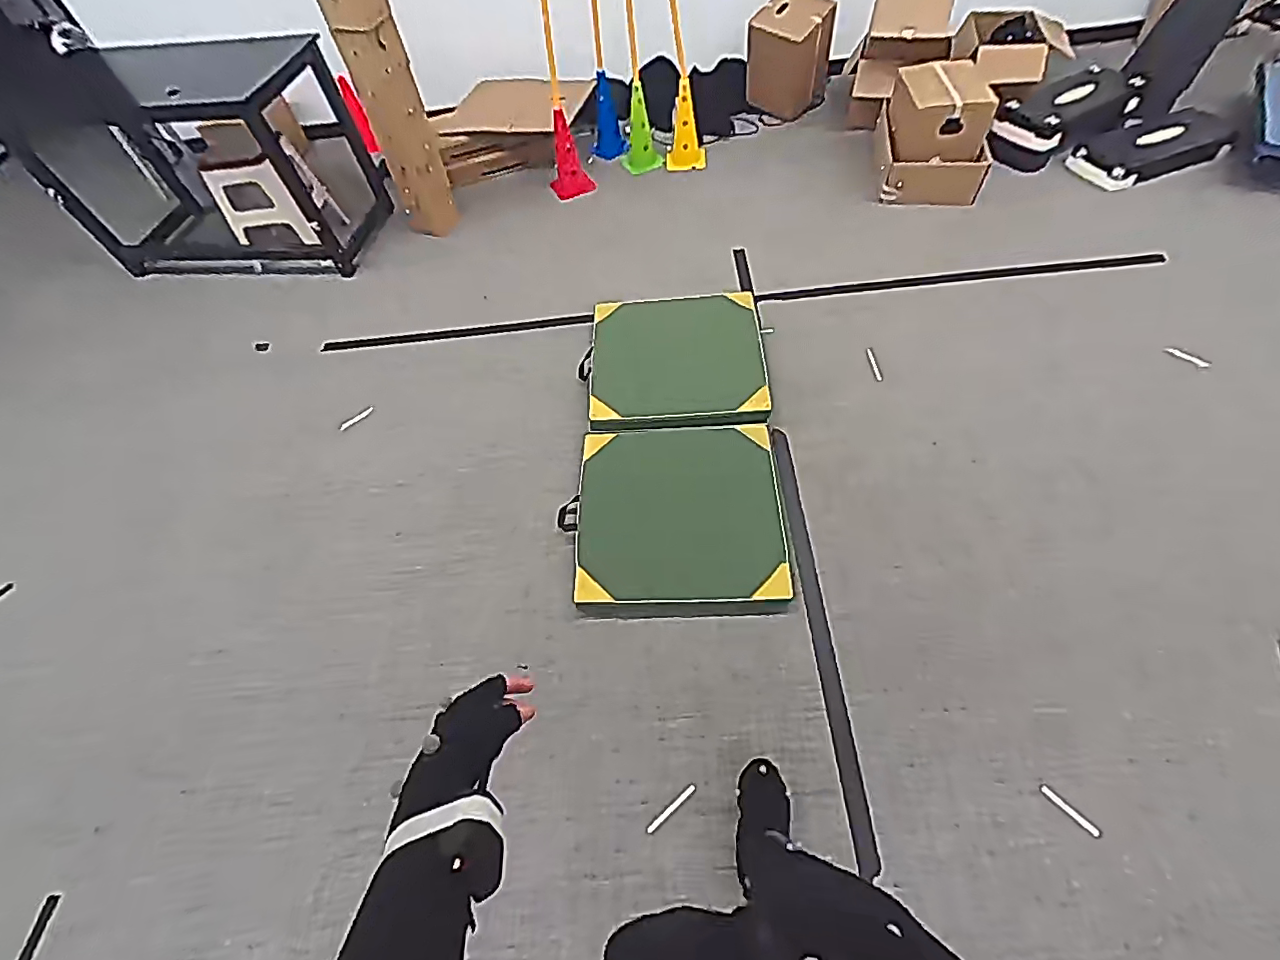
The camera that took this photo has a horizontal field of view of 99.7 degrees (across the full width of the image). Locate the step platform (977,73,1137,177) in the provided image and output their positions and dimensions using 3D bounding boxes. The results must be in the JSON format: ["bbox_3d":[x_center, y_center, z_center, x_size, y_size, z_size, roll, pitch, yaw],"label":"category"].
[{"bbox_3d":[1.955,-1.674,2.538,0.684,0.204,0.286,-29,59,-12],"label":"step platform"}]
